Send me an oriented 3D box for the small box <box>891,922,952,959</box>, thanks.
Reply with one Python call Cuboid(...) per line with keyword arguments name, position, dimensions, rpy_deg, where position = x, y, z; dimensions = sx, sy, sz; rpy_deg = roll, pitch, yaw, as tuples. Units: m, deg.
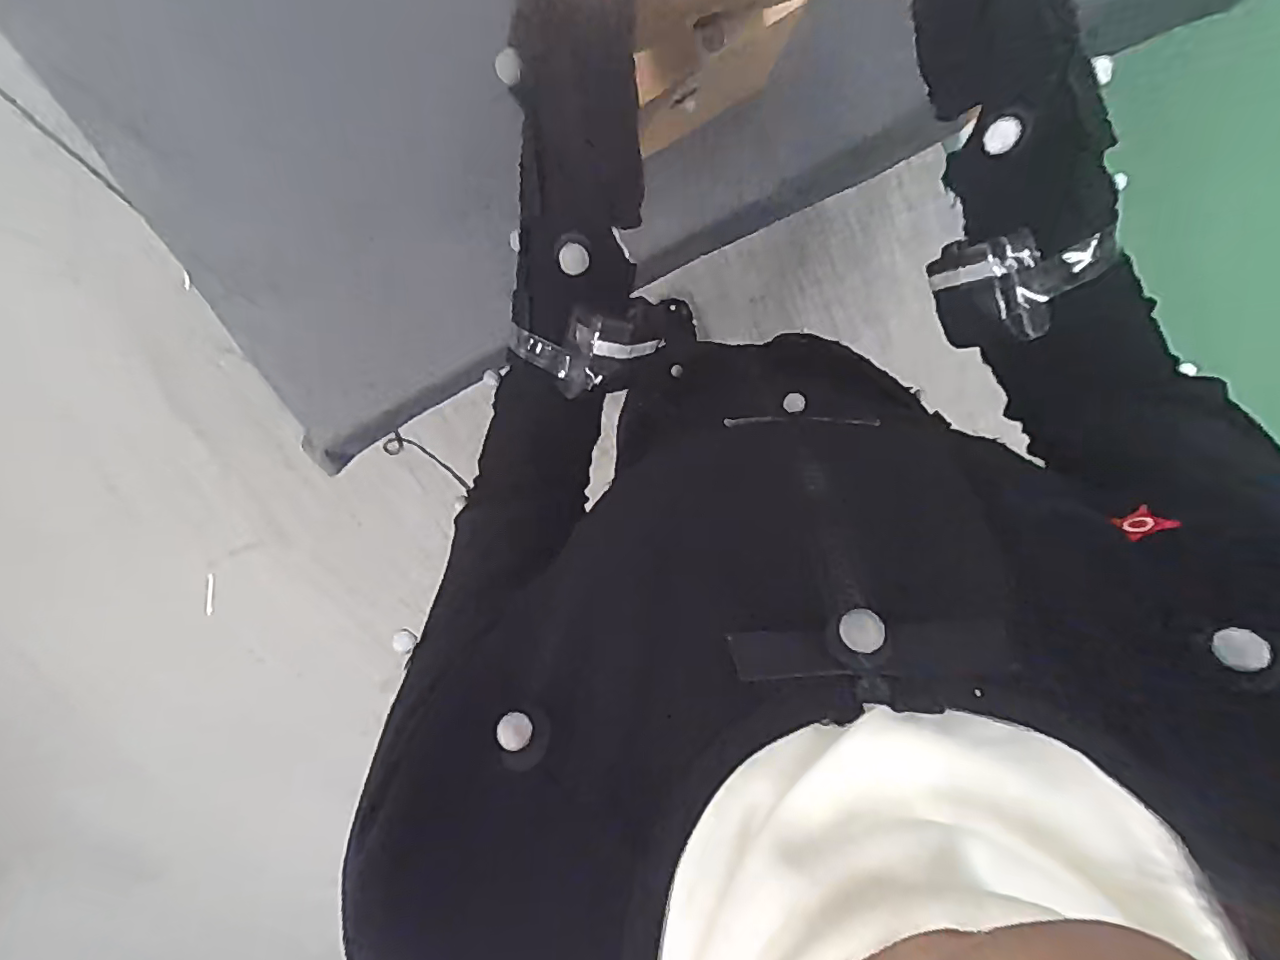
Cuboid(name="small box", position=(1.015, 1.724, 1.915), dimensions=(0.179, 0.176, 0.168), rpy_deg=(-22, 106, 7))
